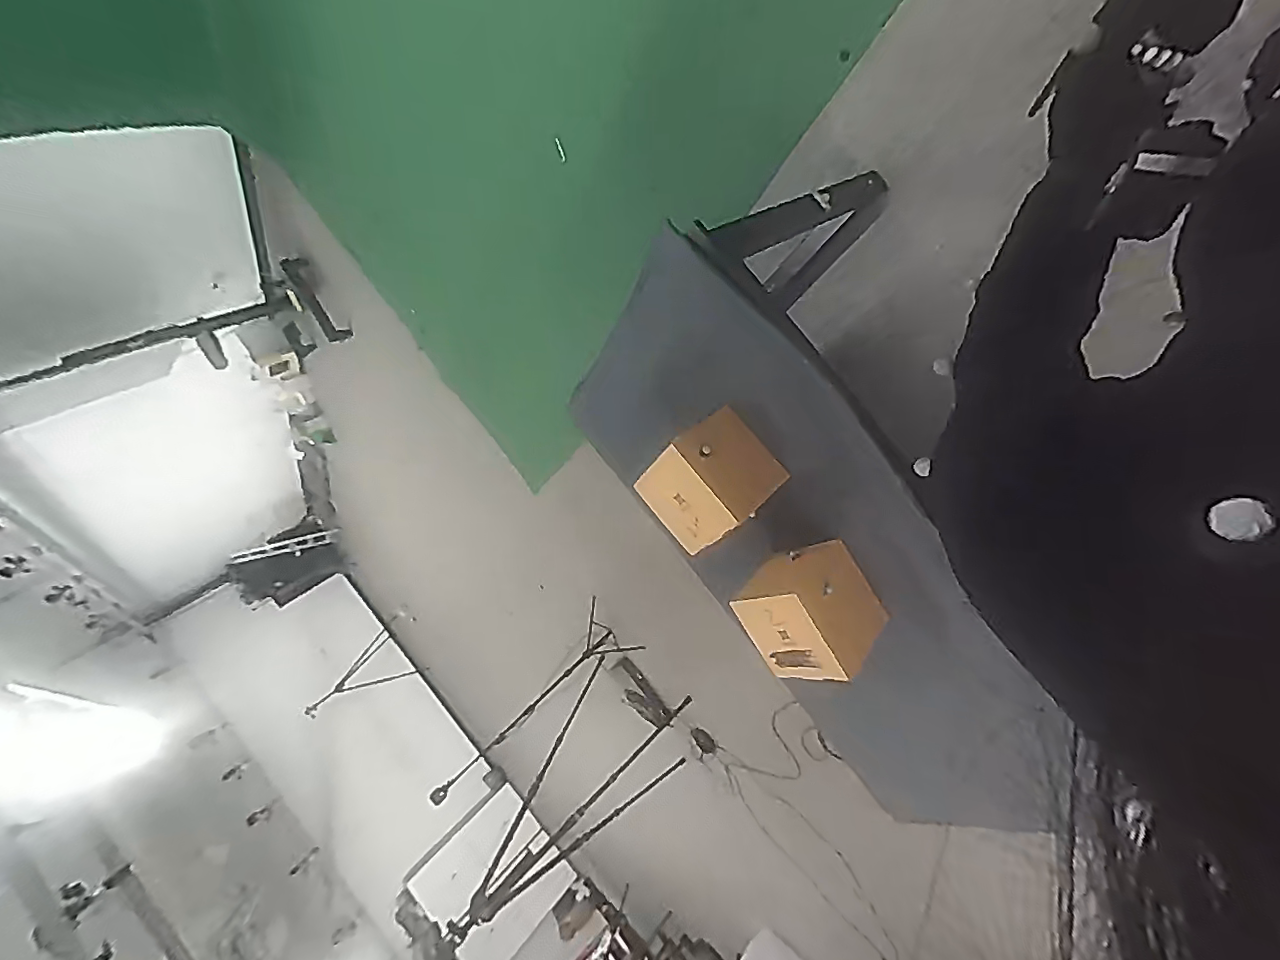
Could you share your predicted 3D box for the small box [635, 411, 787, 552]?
[{"bbox_3d":[0.129,-0.004,0.987,0.179,0.176,0.168,50,144,5],"label":"small box"}]
